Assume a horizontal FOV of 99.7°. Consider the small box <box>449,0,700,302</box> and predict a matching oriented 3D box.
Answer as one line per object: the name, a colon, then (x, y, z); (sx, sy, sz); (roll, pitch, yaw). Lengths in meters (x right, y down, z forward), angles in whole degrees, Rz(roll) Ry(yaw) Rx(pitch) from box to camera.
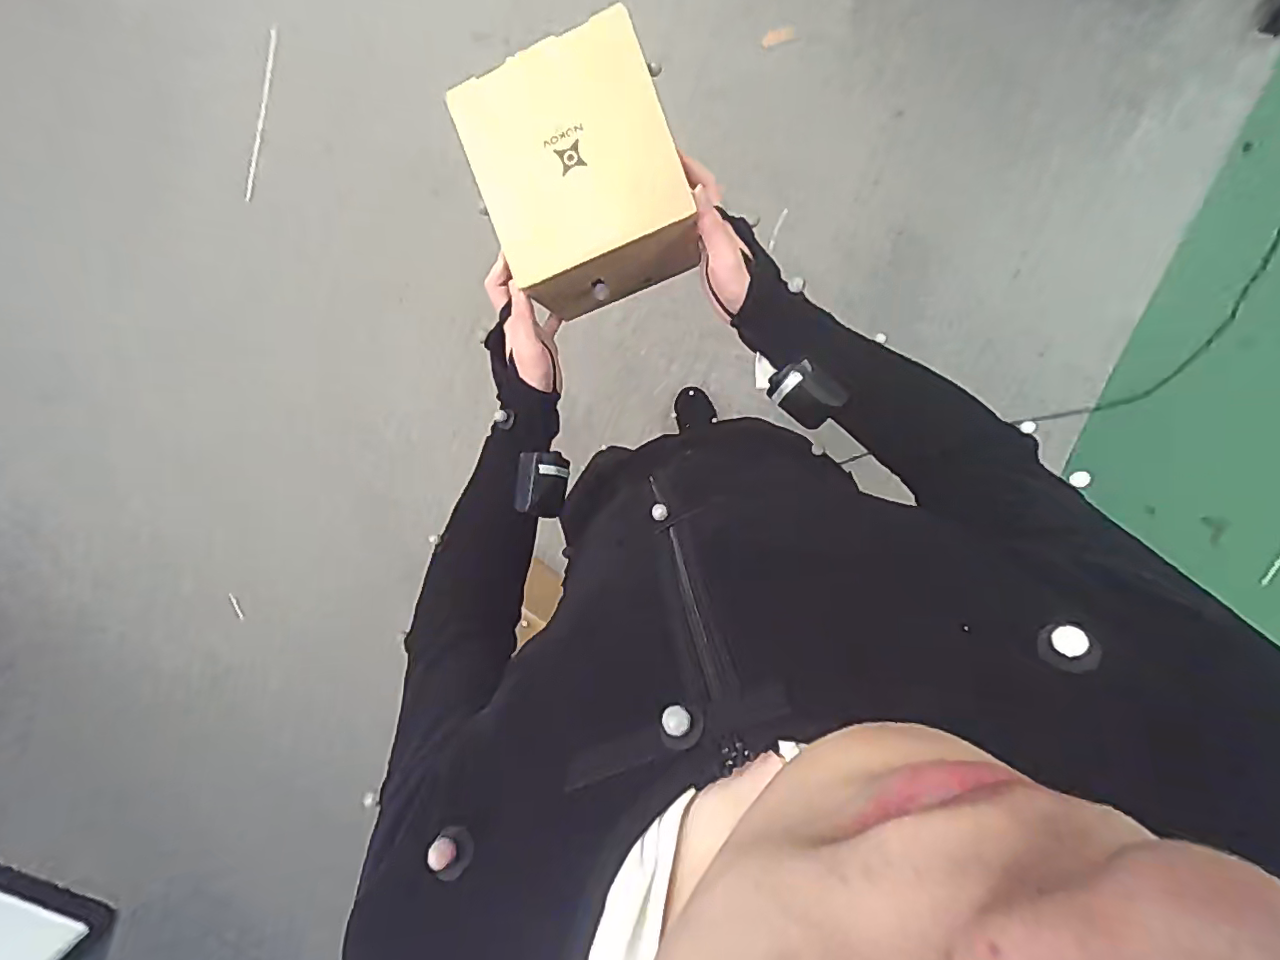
small box: (-0.045, -0.287, 0.521); (0.168, 0.176, 0.179); (-20, 93, 9)
